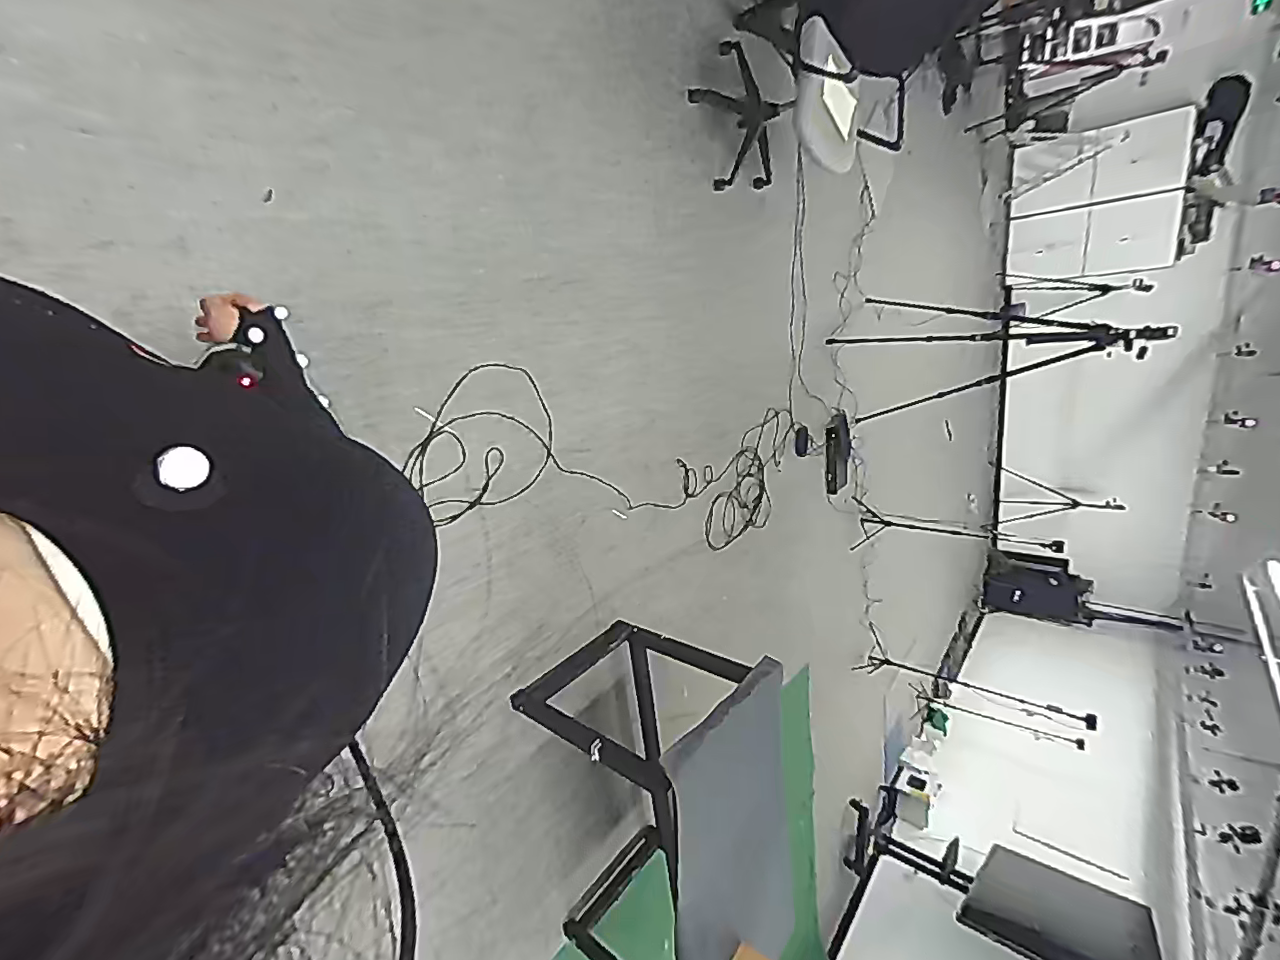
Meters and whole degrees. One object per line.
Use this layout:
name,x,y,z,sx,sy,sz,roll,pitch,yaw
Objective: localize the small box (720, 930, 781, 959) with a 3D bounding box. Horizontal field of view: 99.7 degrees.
small box,0.349,1.634,1.751,0.179,0.176,0.168,-26,114,-47
